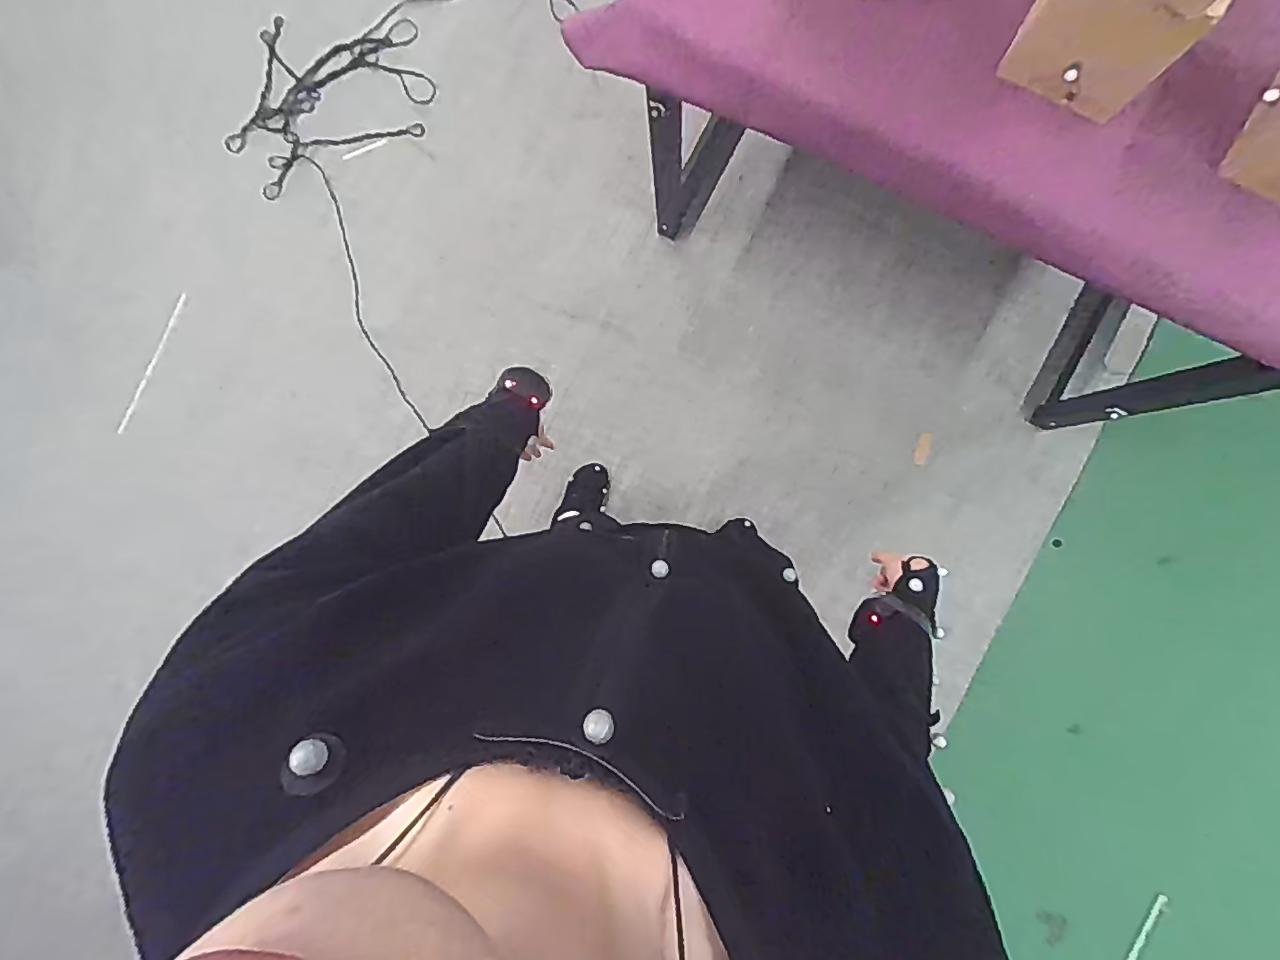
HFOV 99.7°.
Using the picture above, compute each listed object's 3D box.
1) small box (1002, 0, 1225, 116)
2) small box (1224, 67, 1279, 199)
[{"bbox_3d":[0.603,-0.615,0.672,0.168,0.176,0.179,30,91,4],"label":"small box"},{"bbox_3d":[0.886,-0.455,0.649,0.168,0.176,0.179,32,91,4],"label":"small box"}]
